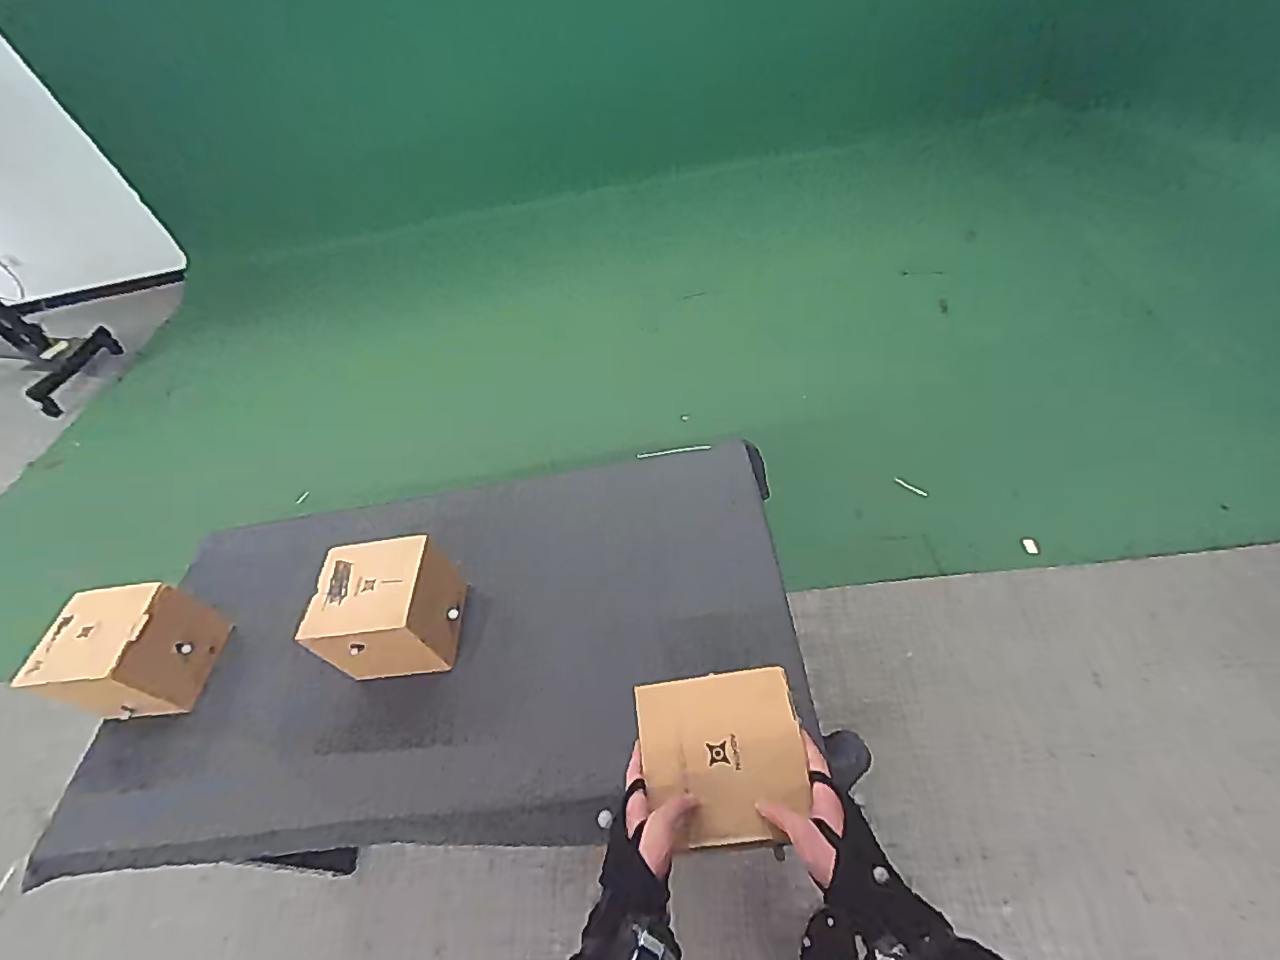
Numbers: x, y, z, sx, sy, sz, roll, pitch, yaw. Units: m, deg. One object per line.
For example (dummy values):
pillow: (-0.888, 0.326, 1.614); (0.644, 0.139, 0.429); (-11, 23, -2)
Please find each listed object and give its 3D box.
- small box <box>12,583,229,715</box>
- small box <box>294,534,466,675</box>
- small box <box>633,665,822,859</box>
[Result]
small box: (-0.876, 0.296, 0.938); (0.179, 0.176, 0.168); (-7, 50, 6)
small box: (-0.417, 0.213, 0.902); (0.179, 0.176, 0.168); (-7, 50, 6)
small box: (0.097, 0.336, 0.637); (0.179, 0.176, 0.168); (-11, 52, 4)
